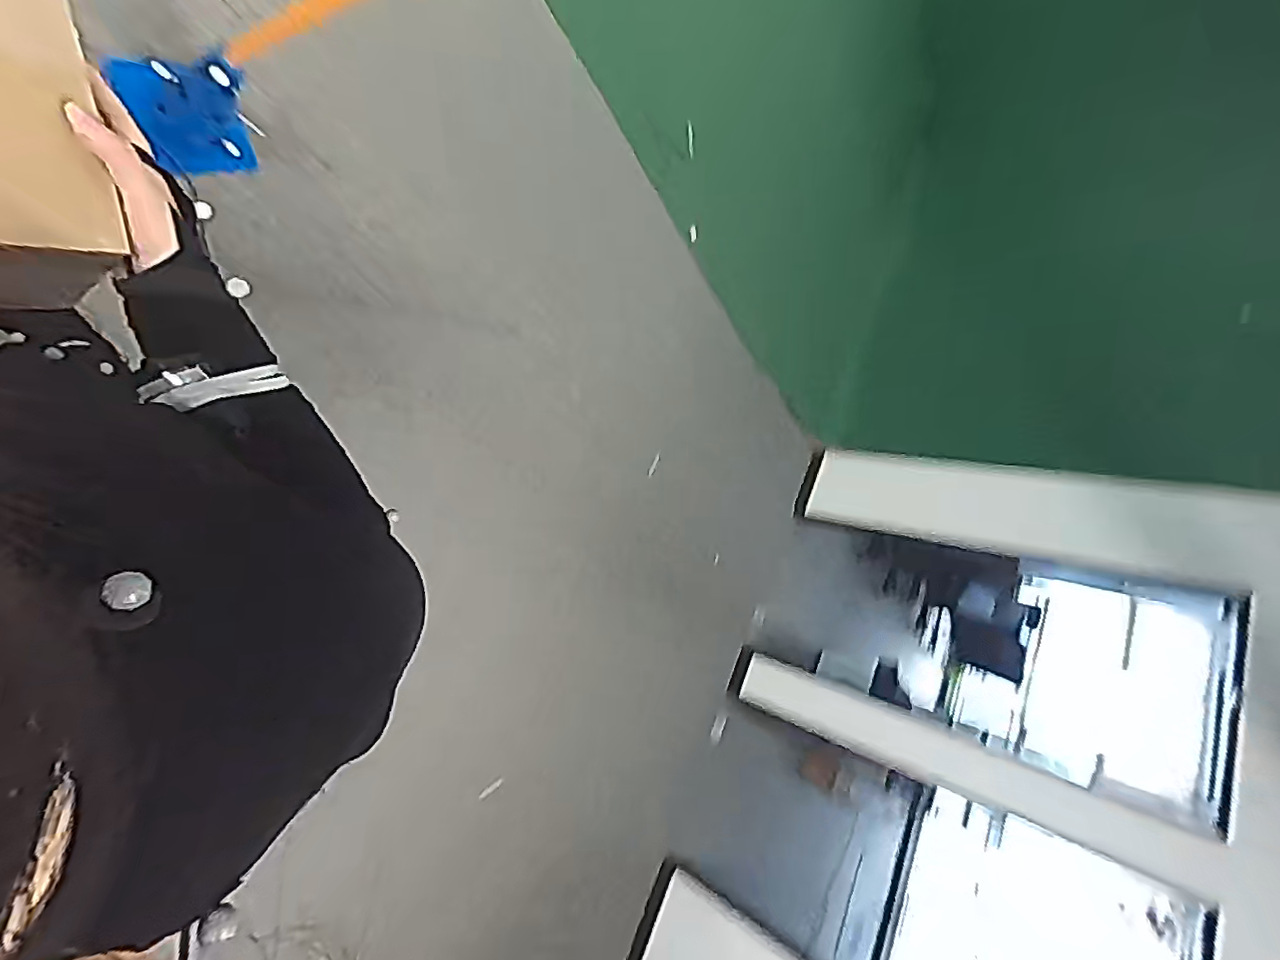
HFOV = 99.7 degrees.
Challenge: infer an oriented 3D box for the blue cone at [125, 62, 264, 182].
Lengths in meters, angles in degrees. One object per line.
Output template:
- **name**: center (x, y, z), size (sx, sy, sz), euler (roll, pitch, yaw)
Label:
- **blue cone**: center (-0.792, -0.712, 1.017), size (0.193, 0.380, 0.192), euler (-37, 125, -40)
